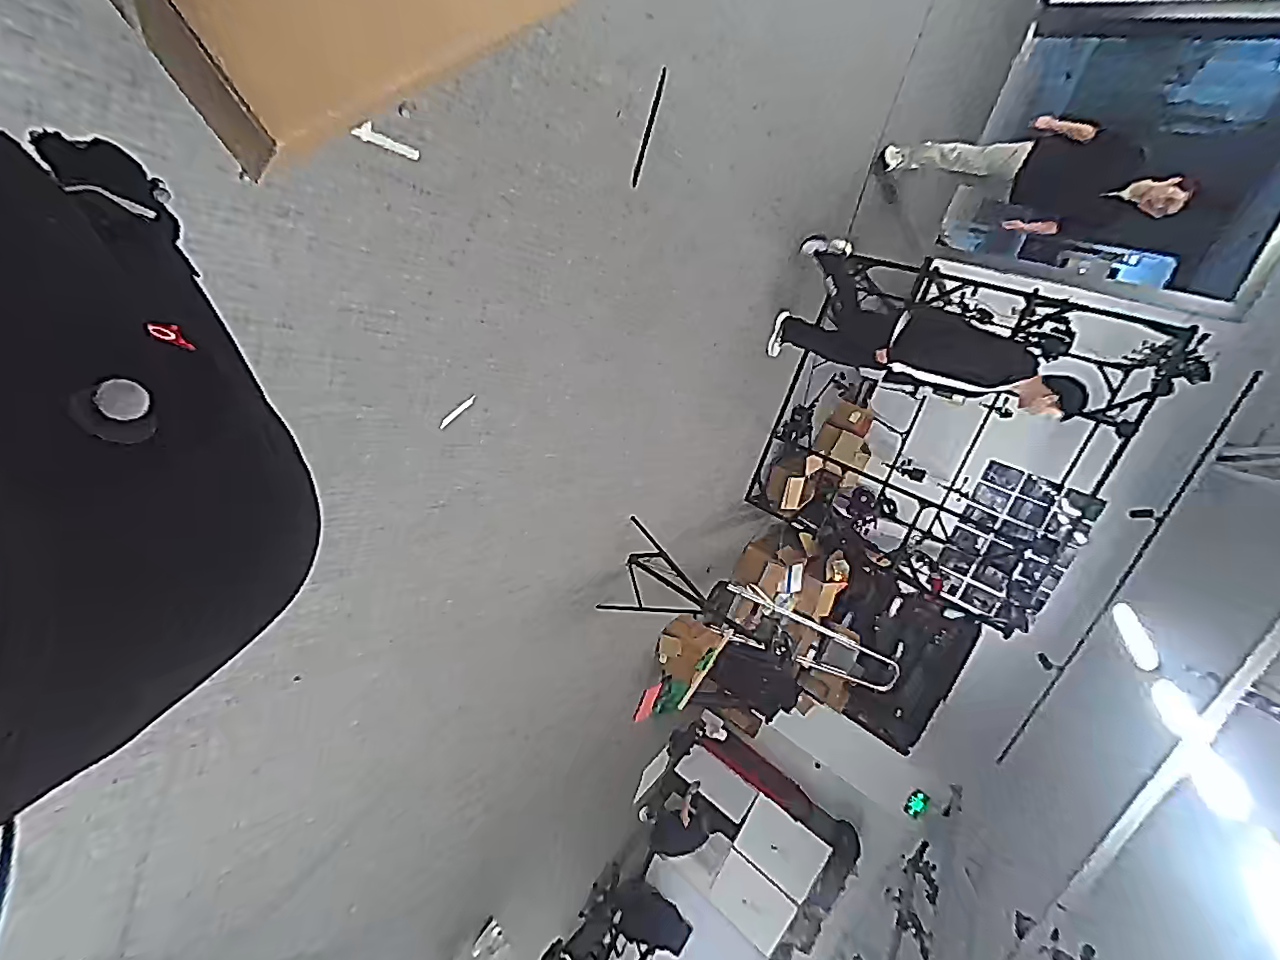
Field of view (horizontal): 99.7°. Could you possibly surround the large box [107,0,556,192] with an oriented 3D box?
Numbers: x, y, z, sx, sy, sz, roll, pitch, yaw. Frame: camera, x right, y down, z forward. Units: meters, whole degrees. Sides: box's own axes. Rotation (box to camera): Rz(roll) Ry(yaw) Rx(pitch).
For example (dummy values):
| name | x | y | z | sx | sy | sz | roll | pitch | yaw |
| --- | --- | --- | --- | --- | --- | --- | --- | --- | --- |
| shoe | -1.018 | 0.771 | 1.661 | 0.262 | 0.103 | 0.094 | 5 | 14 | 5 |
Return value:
| name | x | y | z | sx | sy | sz | roll | pitch | yaw |
| --- | --- | --- | --- | --- | --- | --- | --- | --- | --- |
| large box | -0.346 | -0.526 | 0.528 | 0.320 | 0.408 | 0.320 | -41 | 128 | -15 |
